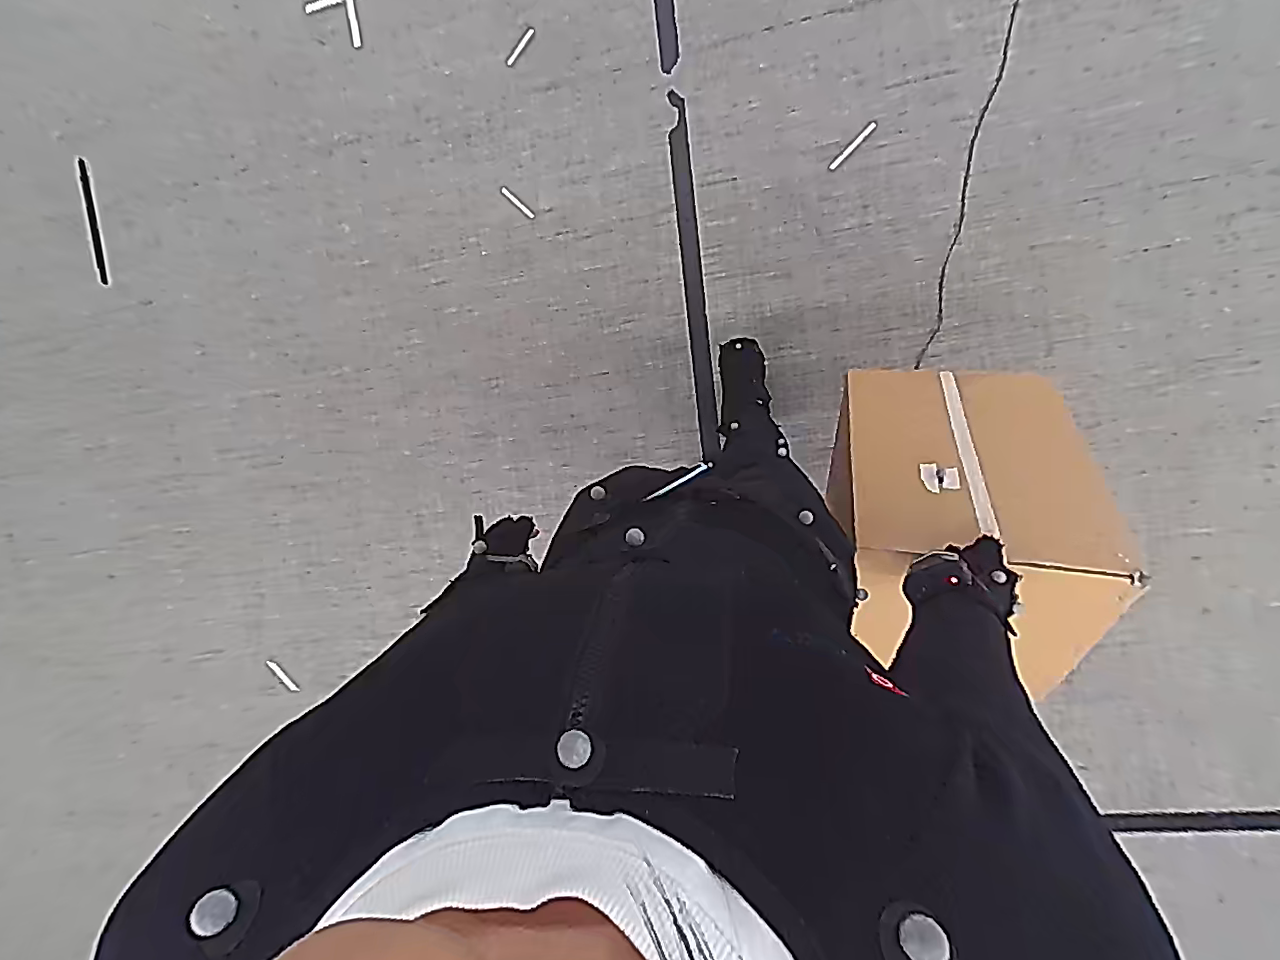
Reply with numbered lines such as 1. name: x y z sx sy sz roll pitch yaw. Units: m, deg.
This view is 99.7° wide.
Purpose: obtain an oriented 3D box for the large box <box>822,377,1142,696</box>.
1. large box: 0.482 0.075 0.887 0.320 0.408 0.320 4 135 14
